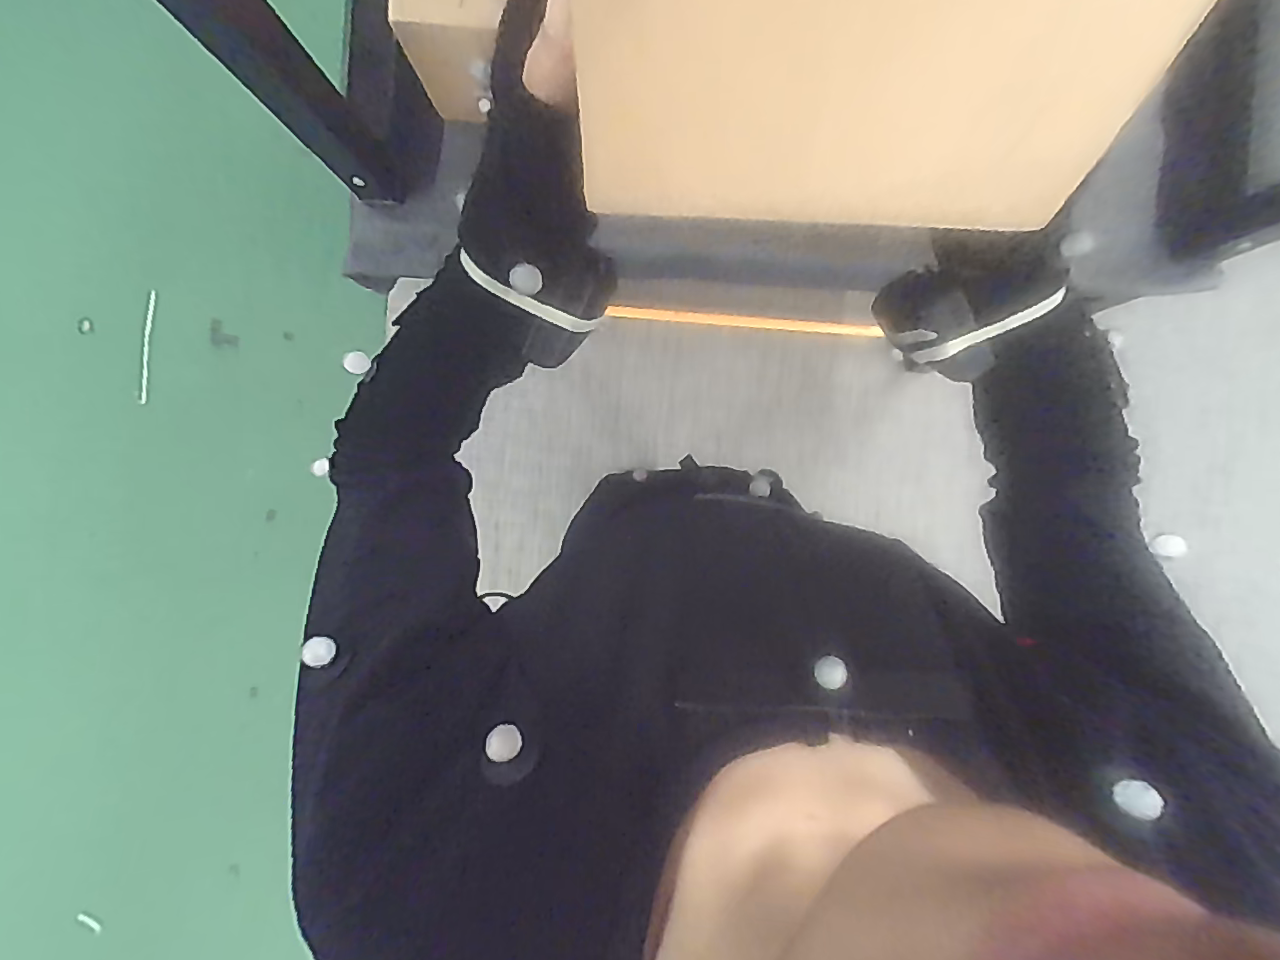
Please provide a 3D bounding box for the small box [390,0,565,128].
[{"bbox_3d":[-0.190,-0.586,0.677,0.168,0.176,0.179,4,91,0],"label":"small box"}]

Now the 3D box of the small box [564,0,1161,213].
[{"bbox_3d":[0.066,-0.217,0.167,0.168,0.179,0.176,3,61,1],"label":"small box"}]
